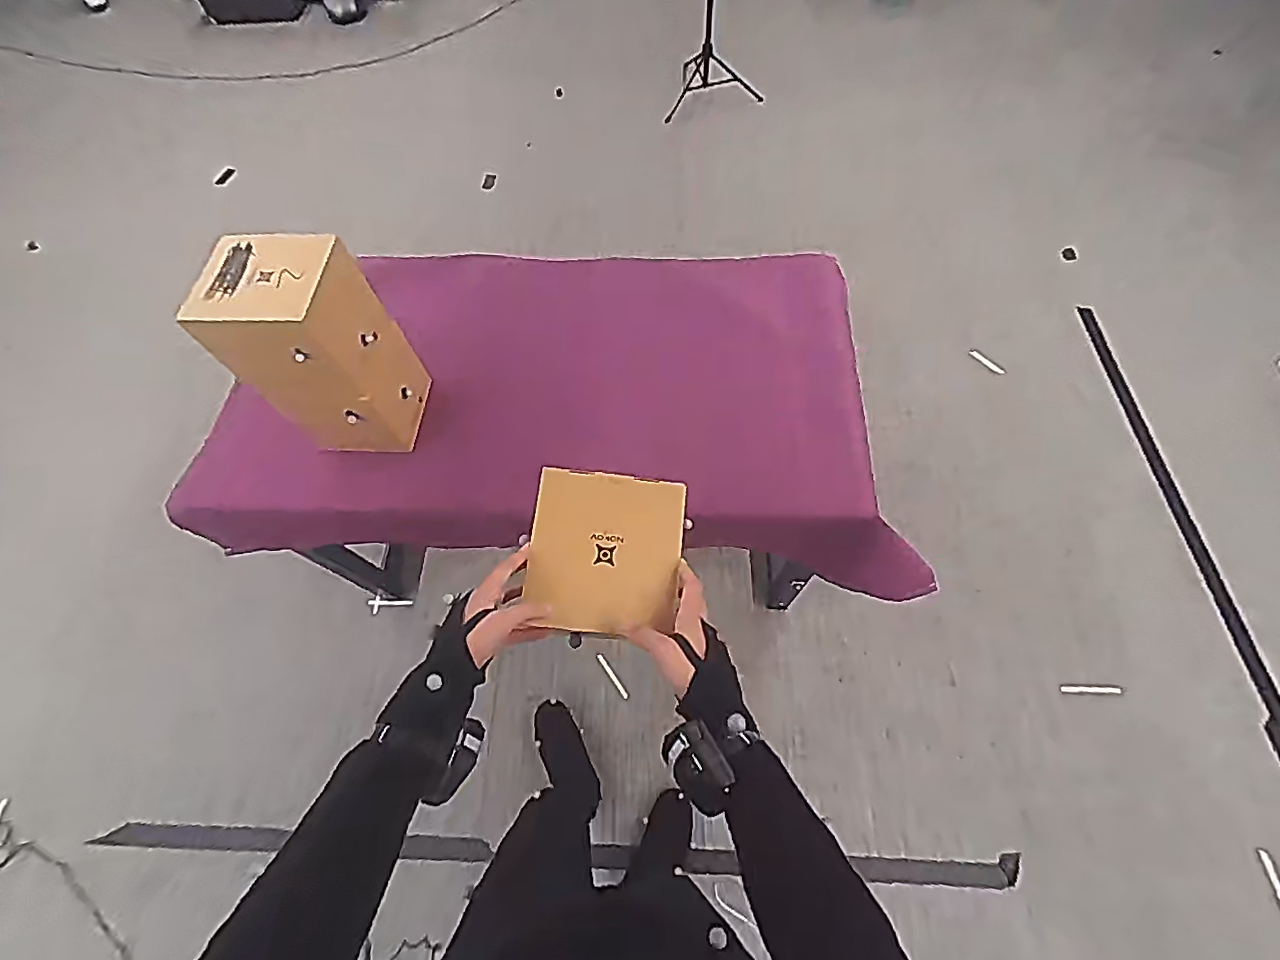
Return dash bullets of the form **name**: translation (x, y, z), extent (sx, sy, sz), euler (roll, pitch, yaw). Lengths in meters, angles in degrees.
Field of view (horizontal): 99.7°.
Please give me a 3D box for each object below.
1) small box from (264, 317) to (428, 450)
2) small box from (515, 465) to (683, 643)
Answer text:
- **small box**: translation (-0.498, -0.163, 0.950), extent (0.179, 0.176, 0.168), euler (2, 63, 3)
- **small box**: translation (-0.046, 0.100, 0.657), extent (0.168, 0.176, 0.179), euler (7, 70, -3)
